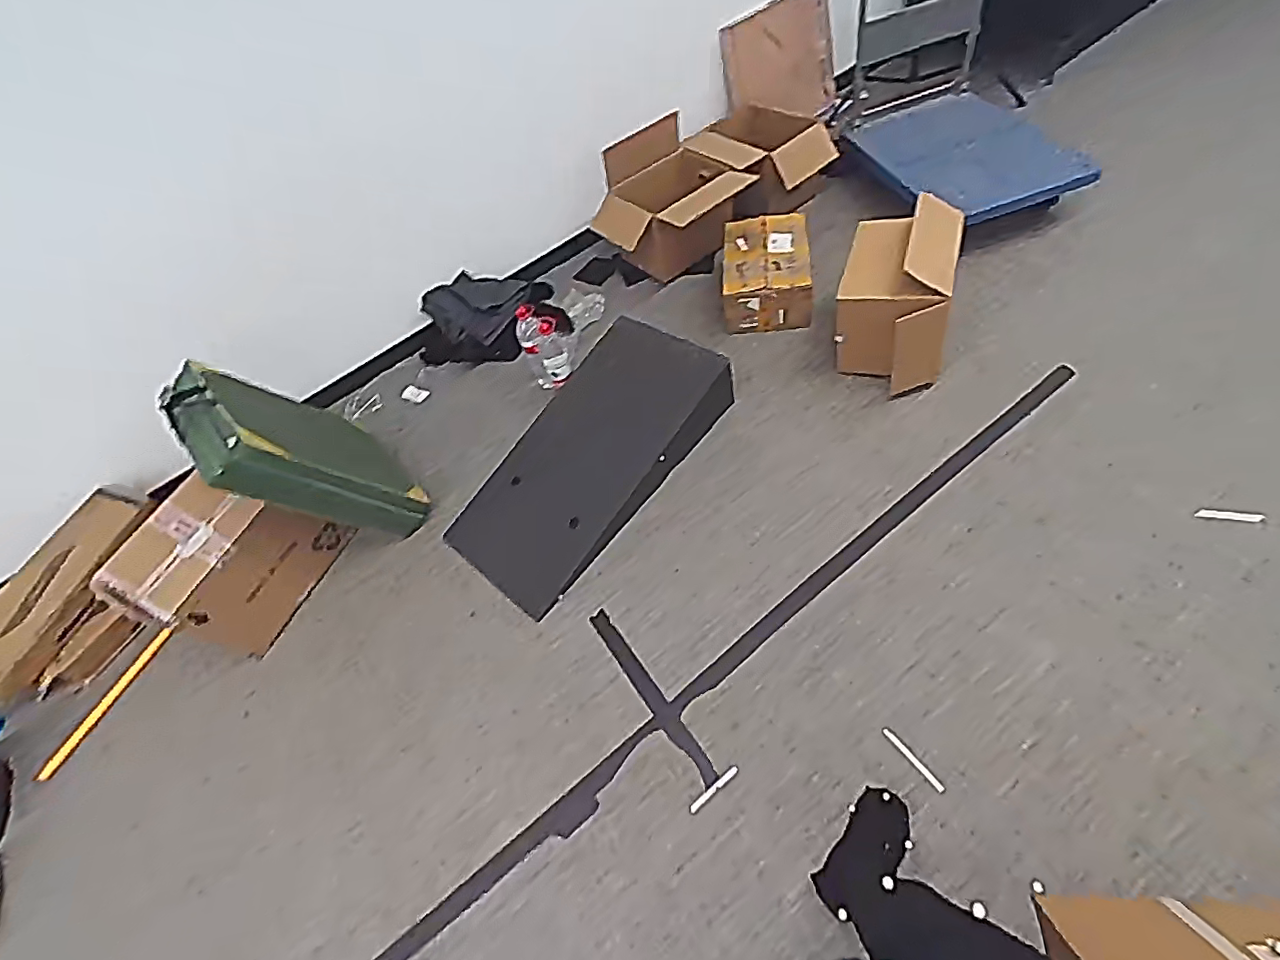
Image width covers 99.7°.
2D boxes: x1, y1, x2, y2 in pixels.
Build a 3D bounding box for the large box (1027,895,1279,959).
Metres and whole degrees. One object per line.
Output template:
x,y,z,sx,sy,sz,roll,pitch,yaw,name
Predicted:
0.660,0.679,0.517,0.320,0.408,0.320,-7,75,15,large box
